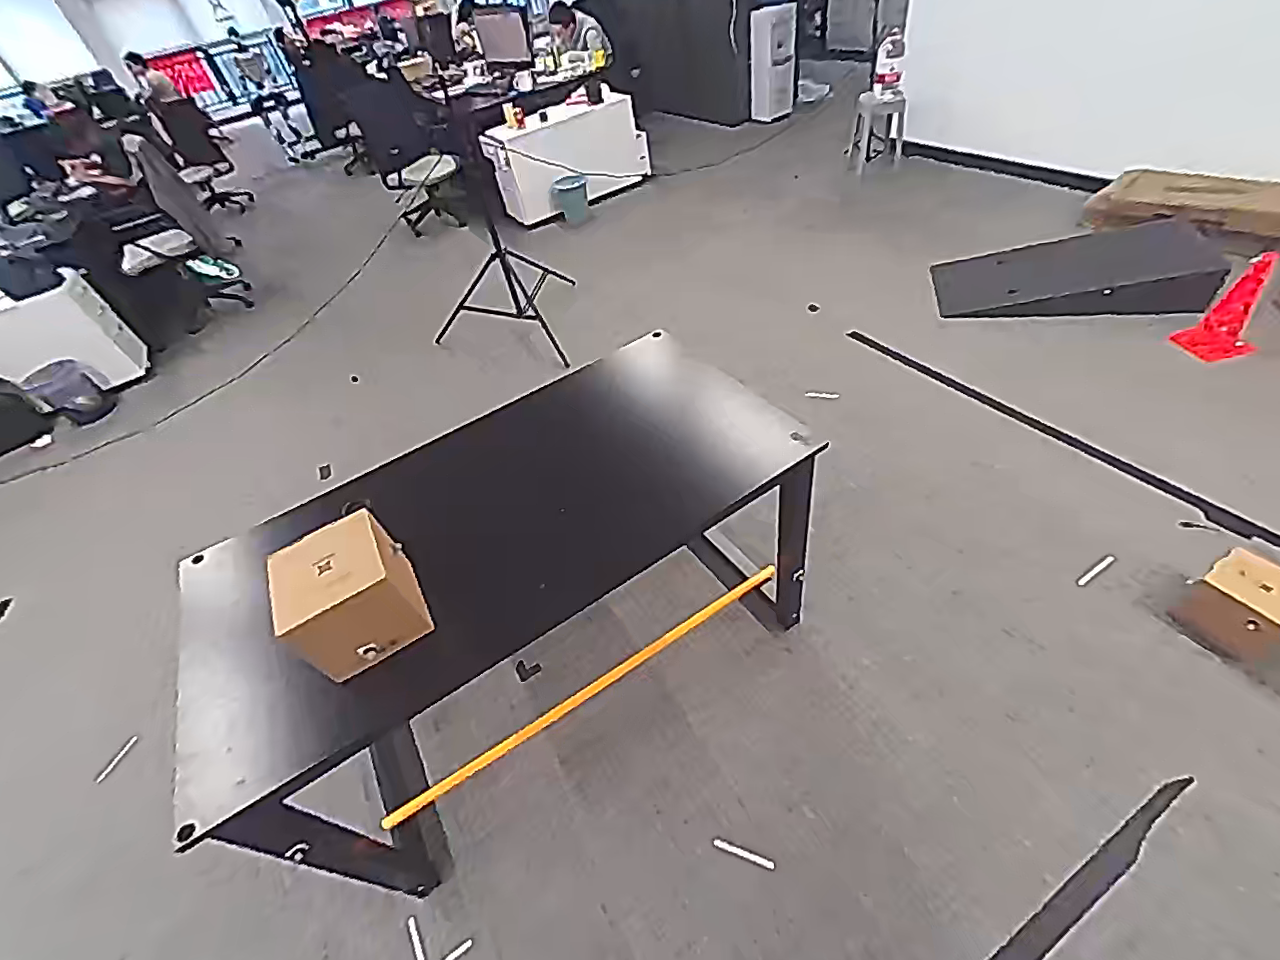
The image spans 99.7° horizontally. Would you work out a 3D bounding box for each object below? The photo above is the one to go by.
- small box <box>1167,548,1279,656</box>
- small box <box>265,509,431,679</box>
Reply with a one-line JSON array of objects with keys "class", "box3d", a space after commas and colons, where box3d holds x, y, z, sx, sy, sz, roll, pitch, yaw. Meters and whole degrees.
[{"class": "small box", "box3d": [1.495, 0.311, 1.346, 0.168, 0.176, 0.179, -29, 48, -15]}, {"class": "small box", "box3d": [-0.472, 0.187, 0.883, 0.168, 0.176, 0.179, -30, 49, -15]}]
